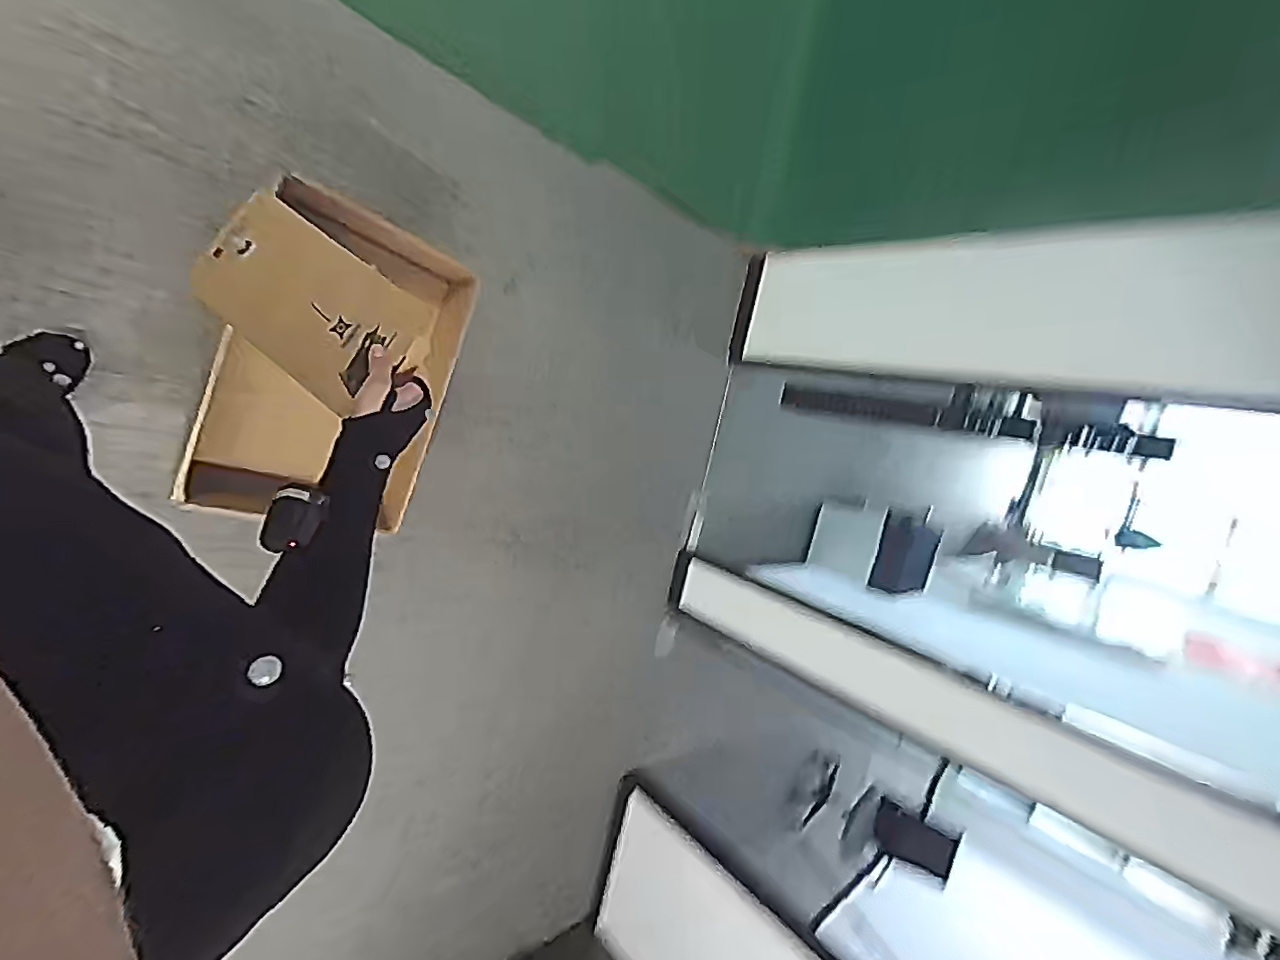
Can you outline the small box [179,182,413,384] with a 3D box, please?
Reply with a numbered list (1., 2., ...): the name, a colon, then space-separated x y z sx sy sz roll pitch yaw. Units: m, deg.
1. small box: -0.468 -0.268 0.753 0.168 0.176 0.179 -53 166 -2
